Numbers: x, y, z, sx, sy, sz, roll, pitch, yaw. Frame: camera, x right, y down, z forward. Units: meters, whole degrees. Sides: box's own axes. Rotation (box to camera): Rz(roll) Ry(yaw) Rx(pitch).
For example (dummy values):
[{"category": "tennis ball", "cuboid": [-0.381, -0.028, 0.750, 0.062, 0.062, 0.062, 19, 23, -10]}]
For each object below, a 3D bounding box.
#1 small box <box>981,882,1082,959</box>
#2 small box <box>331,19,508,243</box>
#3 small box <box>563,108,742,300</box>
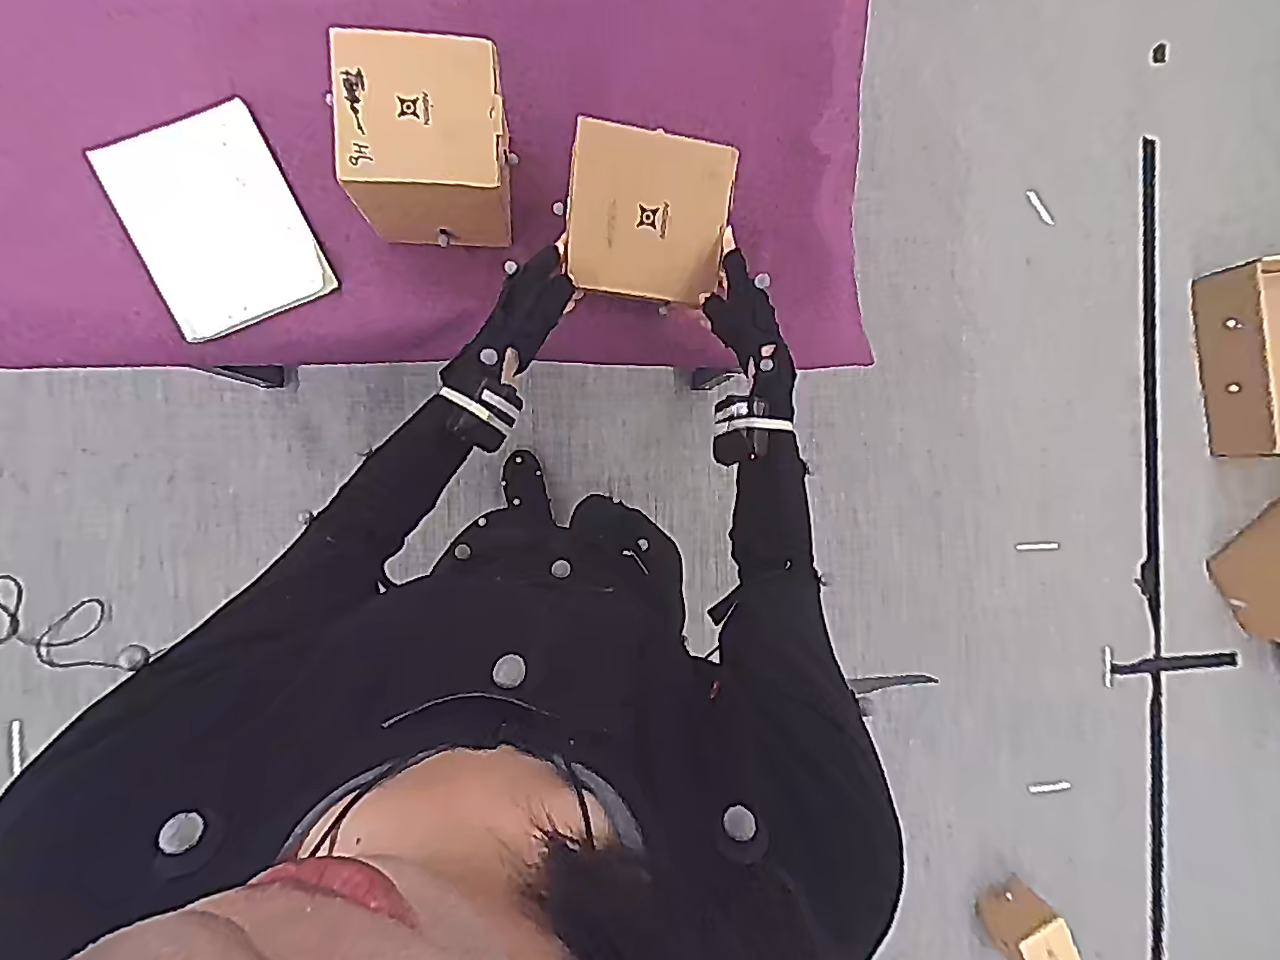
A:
[{"category": "small box", "cuboid": [1.207, 1.408, 1.669, 0.168, 0.176, 0.179, -24, 93, -8]}, {"category": "small box", "cuboid": [-0.256, -0.410, 0.669, 0.179, 0.176, 0.168, -2, 90, -10]}, {"category": "small box", "cuboid": [0.002, -0.314, 0.654, 0.179, 0.176, 0.168, 4, 106, -10]}]
